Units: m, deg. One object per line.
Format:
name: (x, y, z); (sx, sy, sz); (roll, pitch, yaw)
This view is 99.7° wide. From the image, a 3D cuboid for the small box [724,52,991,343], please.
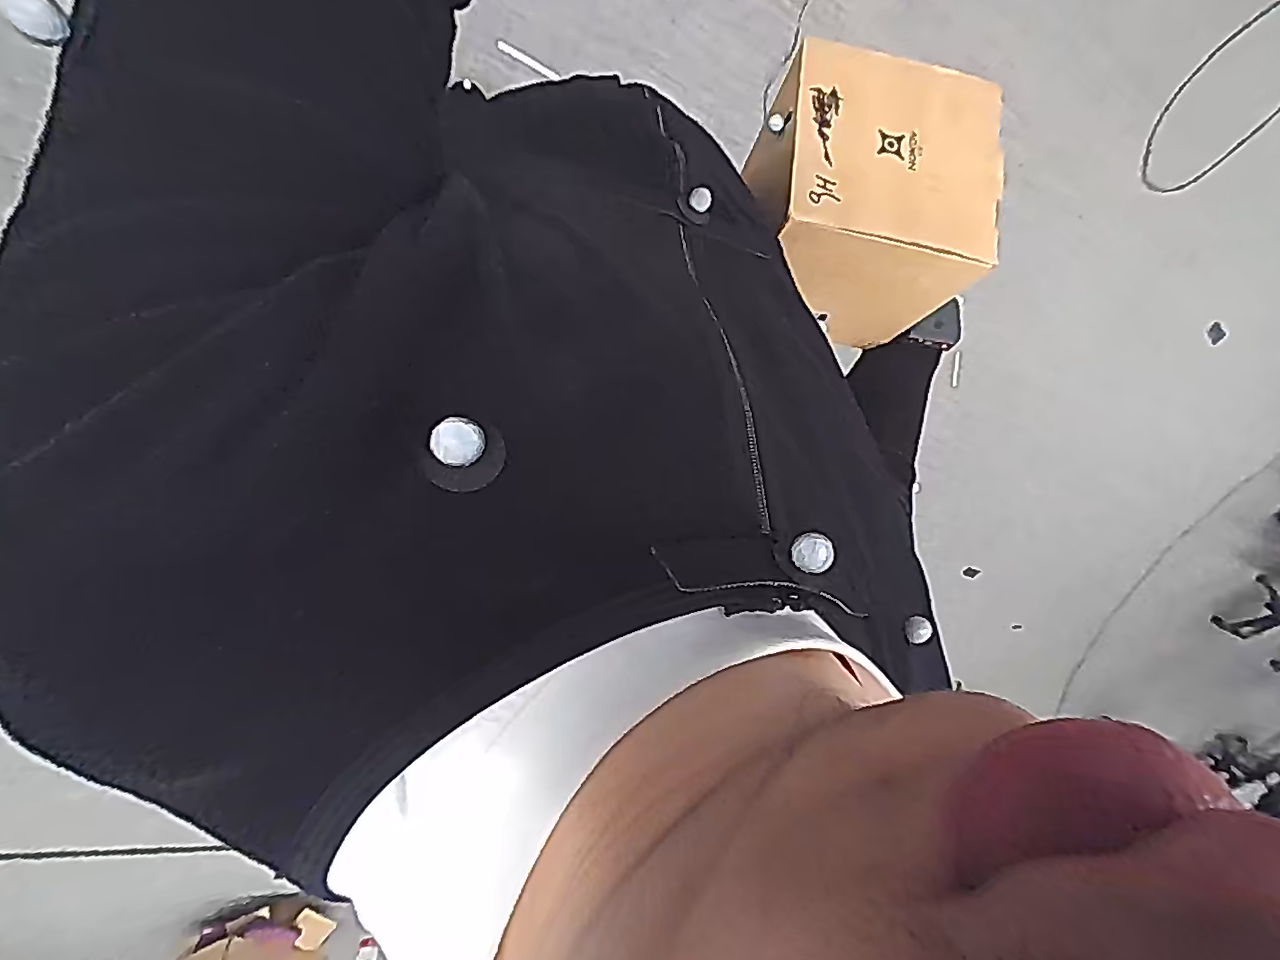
small box: (0.197, -0.249, 0.522); (0.179, 0.176, 0.168); (9, 79, -8)
